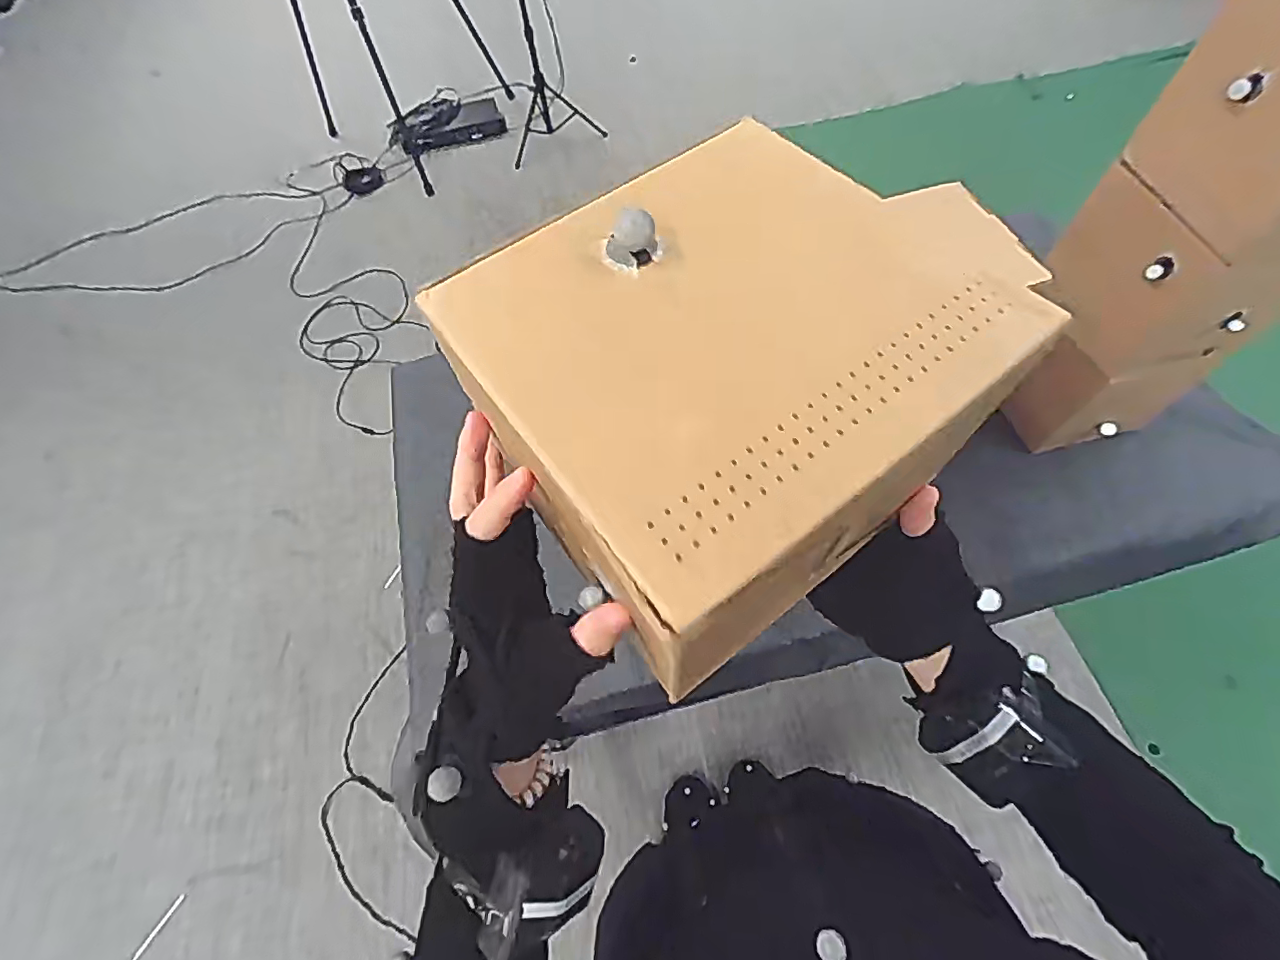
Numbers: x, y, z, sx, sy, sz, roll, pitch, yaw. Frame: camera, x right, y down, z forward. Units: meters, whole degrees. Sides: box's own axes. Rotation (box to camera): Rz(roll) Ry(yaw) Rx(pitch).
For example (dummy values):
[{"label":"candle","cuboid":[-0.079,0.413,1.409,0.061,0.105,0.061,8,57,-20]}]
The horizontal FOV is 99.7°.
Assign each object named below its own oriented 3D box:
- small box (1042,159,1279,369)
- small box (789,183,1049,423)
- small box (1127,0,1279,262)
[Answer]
[{"label":"small box","cuboid":[0.604,-0.243,0.606,0.168,0.176,0.179,-12,61,-1]},{"label":"small box","cuboid":[0.288,-0.191,0.609,0.179,0.176,0.168,-16,61,-3]},{"label":"small box","cuboid":[0.589,-0.320,0.461,0.168,0.176,0.179,-10,61,1]}]
